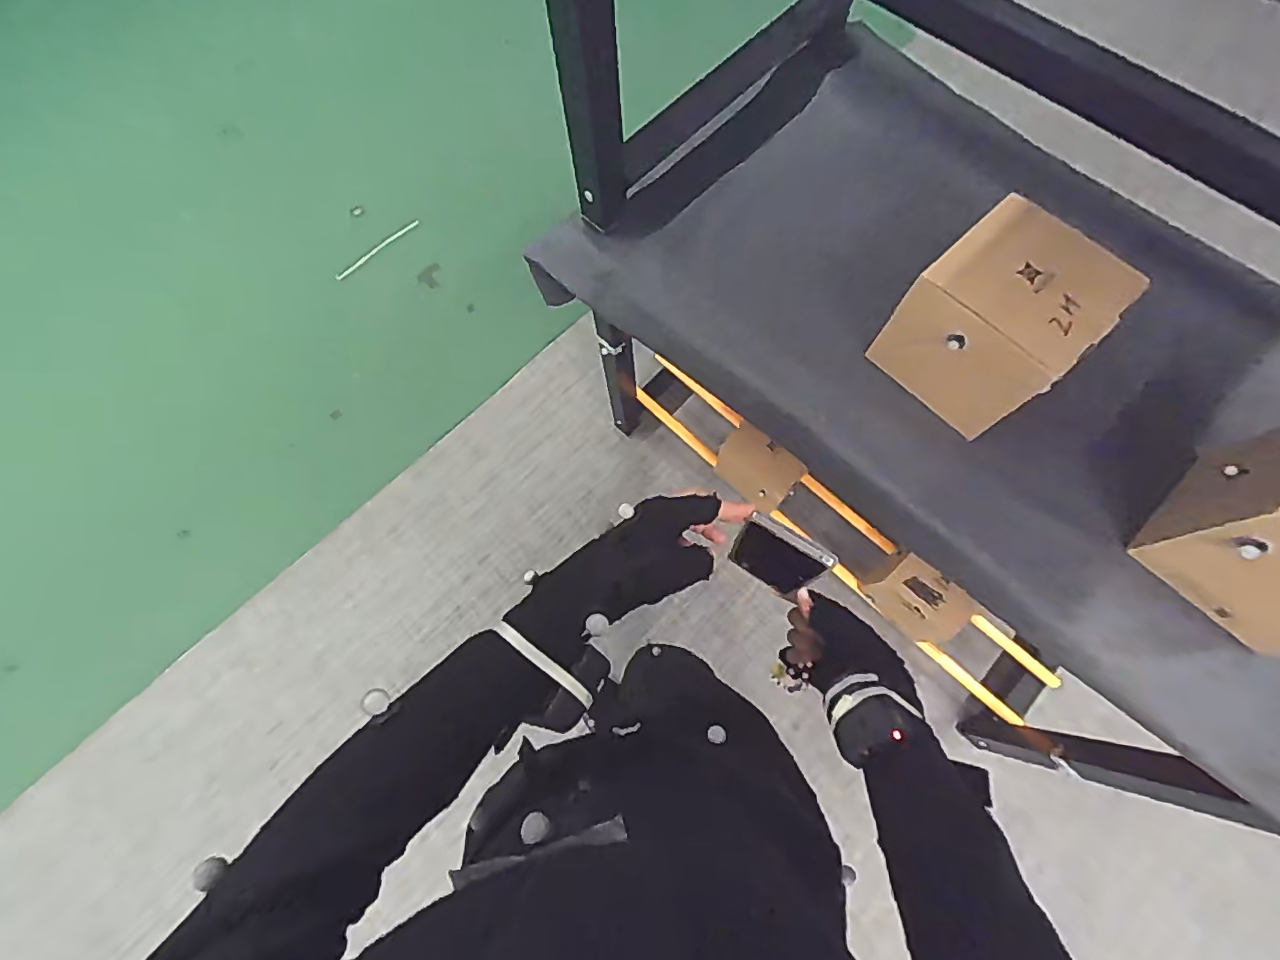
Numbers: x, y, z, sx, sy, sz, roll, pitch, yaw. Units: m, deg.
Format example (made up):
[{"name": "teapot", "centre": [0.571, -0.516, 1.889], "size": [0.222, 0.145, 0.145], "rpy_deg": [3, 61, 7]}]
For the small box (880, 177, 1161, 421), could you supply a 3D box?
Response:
[{"name": "small box", "centre": [0.423, -0.201, 0.638], "size": [0.168, 0.176, 0.179], "rpy_deg": [-42, 75, -10]}]

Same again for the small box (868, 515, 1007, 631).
[{"name": "small box", "centre": [0.618, 0.207, 1.155], "size": [0.179, 0.176, 0.168], "rpy_deg": [-42, 76, -10]}]
